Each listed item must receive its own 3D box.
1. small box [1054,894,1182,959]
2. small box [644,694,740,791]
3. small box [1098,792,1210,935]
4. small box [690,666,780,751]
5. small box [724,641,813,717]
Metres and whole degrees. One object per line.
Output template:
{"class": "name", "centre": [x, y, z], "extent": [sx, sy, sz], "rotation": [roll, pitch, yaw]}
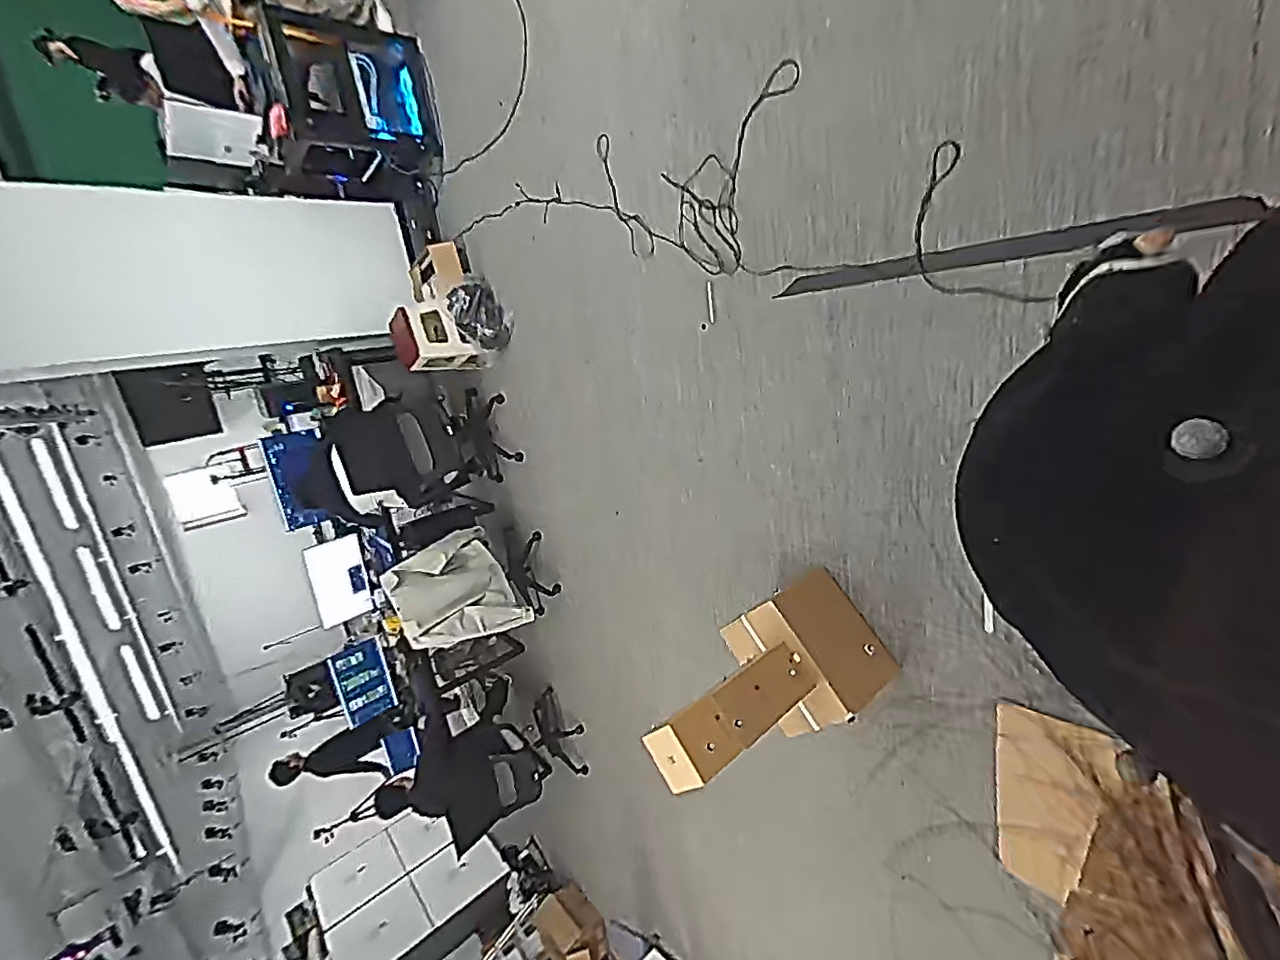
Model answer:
{"class": "small box", "centre": [0.957, 0.989, 1.076], "extent": [0.168, 0.176, 0.179], "rotation": [-6, 102, 52]}
{"class": "small box", "centre": [0.147, 0.709, 1.471], "extent": [0.168, 0.176, 0.179], "rotation": [56, 141, 18]}
{"class": "small box", "centre": [1.202, 0.881, 1.264], "extent": [0.168, 0.176, 0.179], "rotation": [-5, 101, 50]}
{"class": "small box", "centre": [0.271, 0.671, 1.569], "extent": [0.168, 0.176, 0.179], "rotation": [56, 141, 18]}
{"class": "small box", "centre": [0.396, 0.626, 1.666], "extent": [0.168, 0.176, 0.179], "rotation": [56, 140, 18]}
